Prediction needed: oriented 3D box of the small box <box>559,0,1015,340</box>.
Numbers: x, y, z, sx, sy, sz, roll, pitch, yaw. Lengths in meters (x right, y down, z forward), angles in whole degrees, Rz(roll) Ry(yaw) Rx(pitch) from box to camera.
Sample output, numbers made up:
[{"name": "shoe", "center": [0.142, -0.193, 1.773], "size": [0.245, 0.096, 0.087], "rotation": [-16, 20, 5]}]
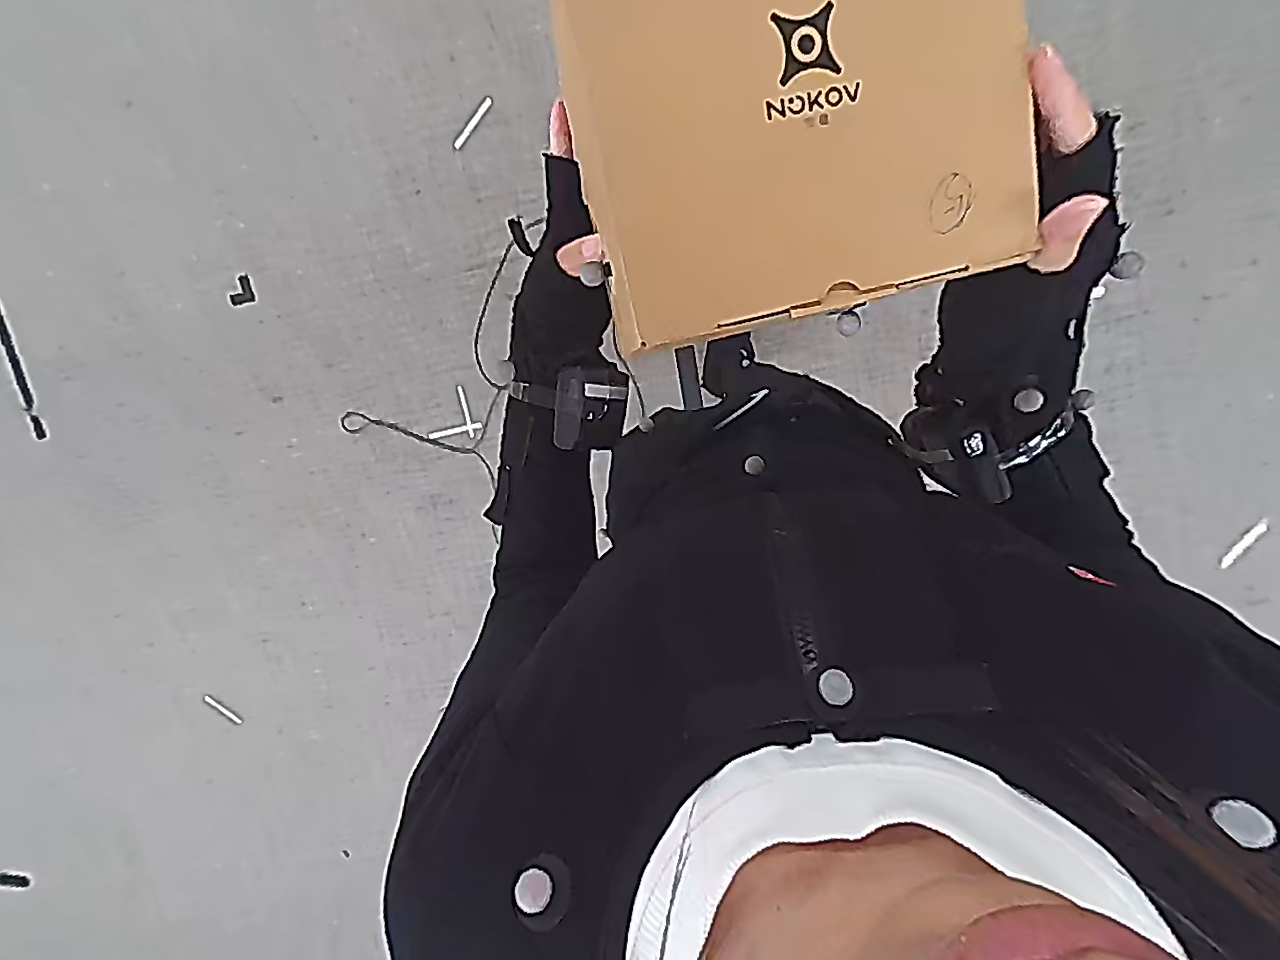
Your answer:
[{"name": "small box", "center": [0.057, -0.178, 0.290], "size": [0.168, 0.176, 0.179], "rotation": [-13, 101, -2]}]
